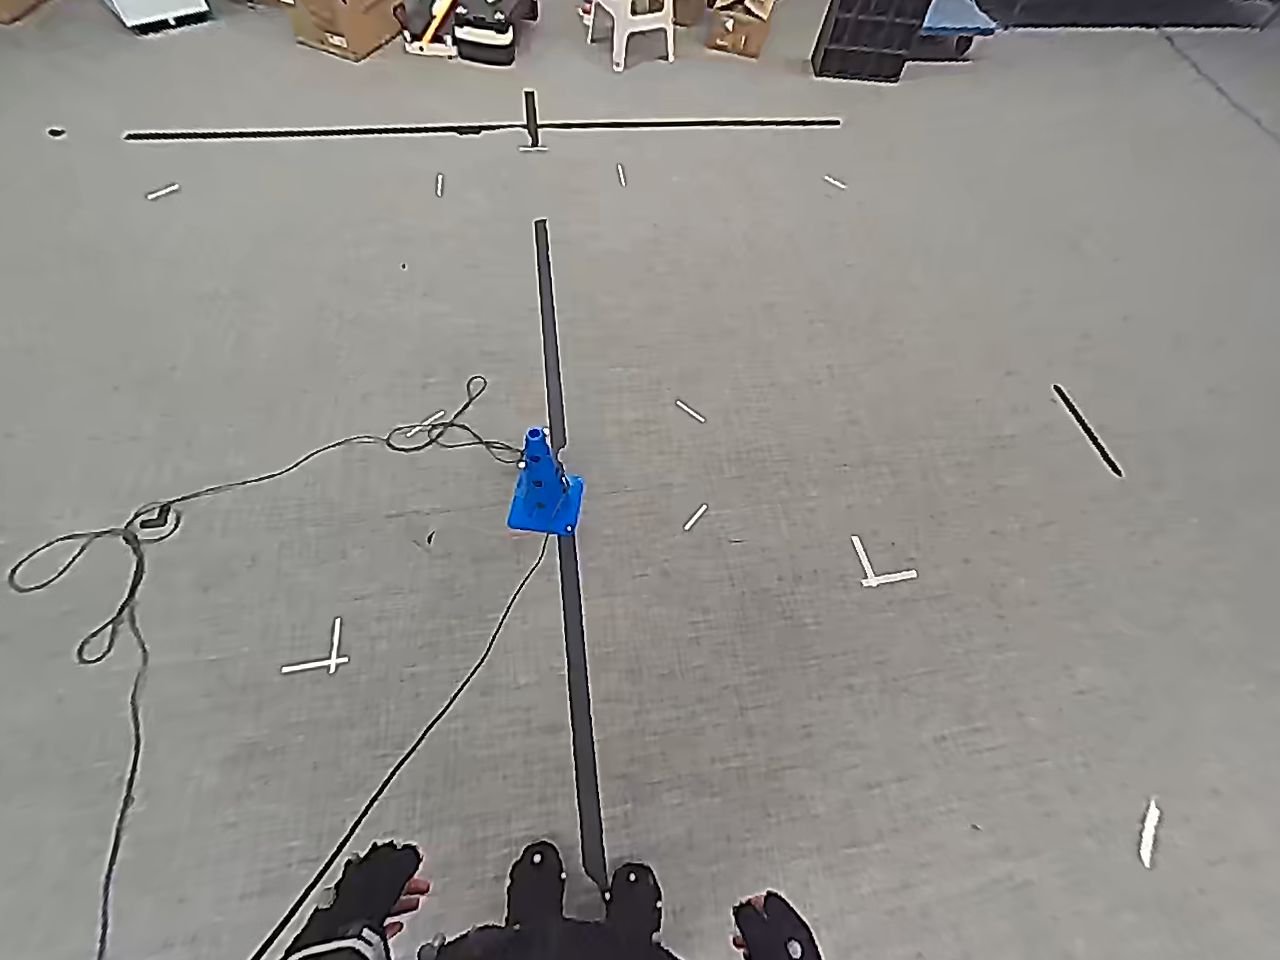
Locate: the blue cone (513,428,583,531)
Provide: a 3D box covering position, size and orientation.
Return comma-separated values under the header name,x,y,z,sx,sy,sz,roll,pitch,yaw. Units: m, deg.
name,x,y,z,sx,sy,sz,roll,pitch,yaw
blue cone,-0.260,-0.022,1.473,0.192,0.380,0.193,9,60,0
